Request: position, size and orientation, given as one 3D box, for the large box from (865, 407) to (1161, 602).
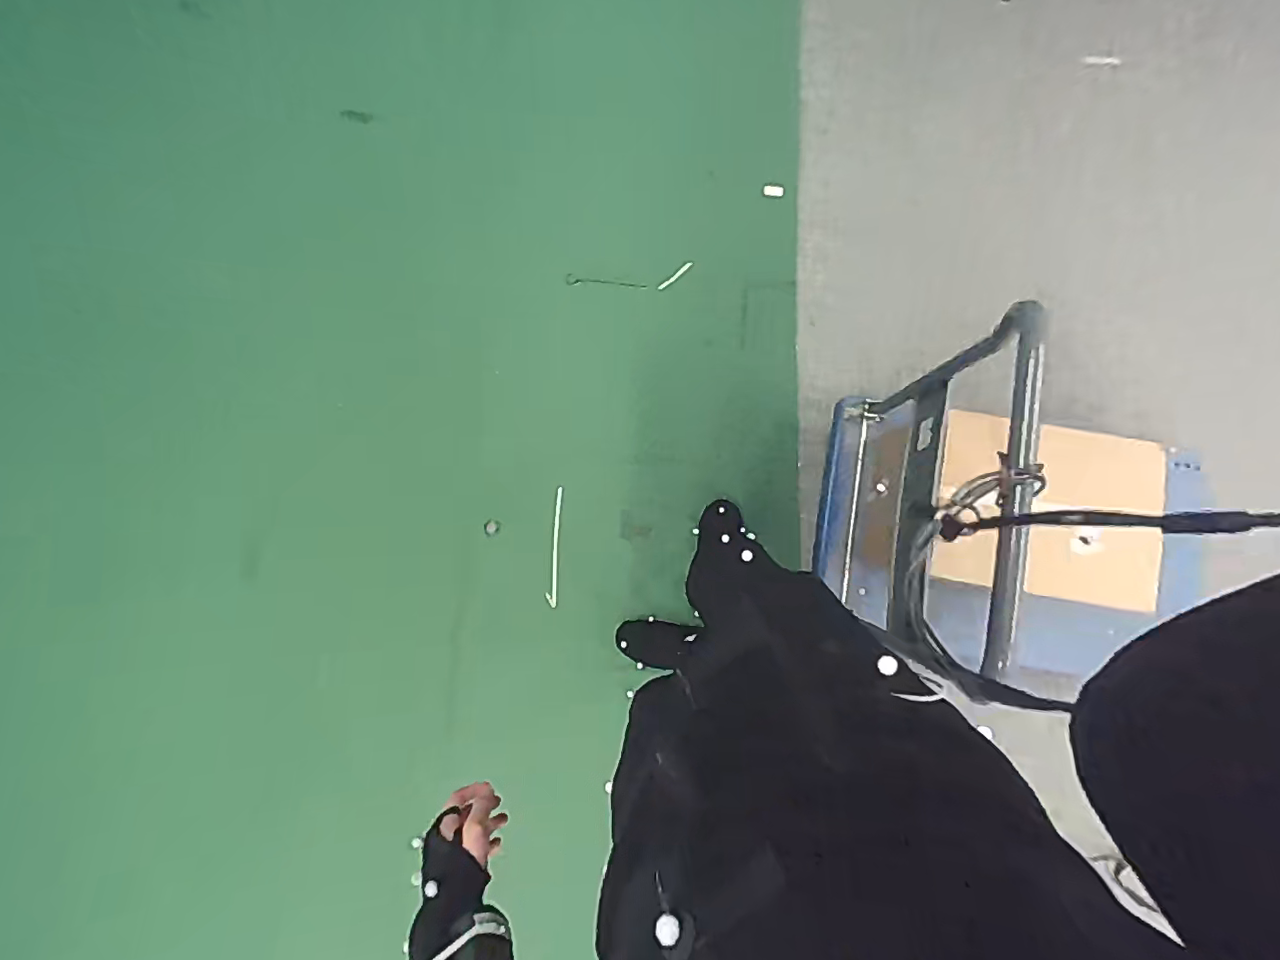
[{"bbox_3d":[0.738,0.058,1.130,0.408,0.320,0.320,9,85,1],"label":"large box"}]
